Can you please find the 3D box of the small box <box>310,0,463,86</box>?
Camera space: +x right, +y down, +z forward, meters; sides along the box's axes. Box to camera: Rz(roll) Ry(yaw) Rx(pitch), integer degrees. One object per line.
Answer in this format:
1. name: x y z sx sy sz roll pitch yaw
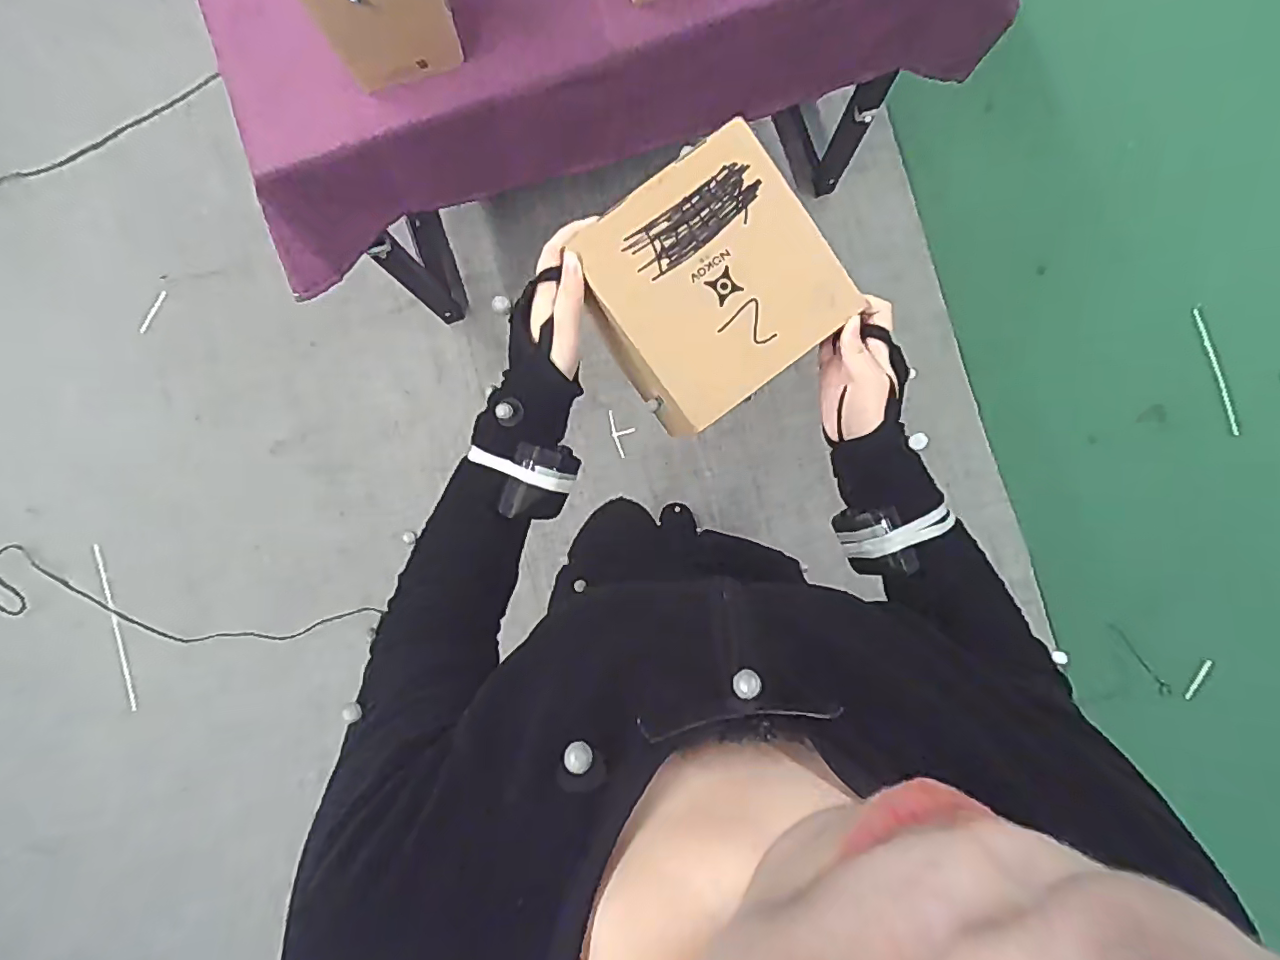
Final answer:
1. small box: -0.369 -0.707 0.752 0.168 0.176 0.179 -16 86 1
